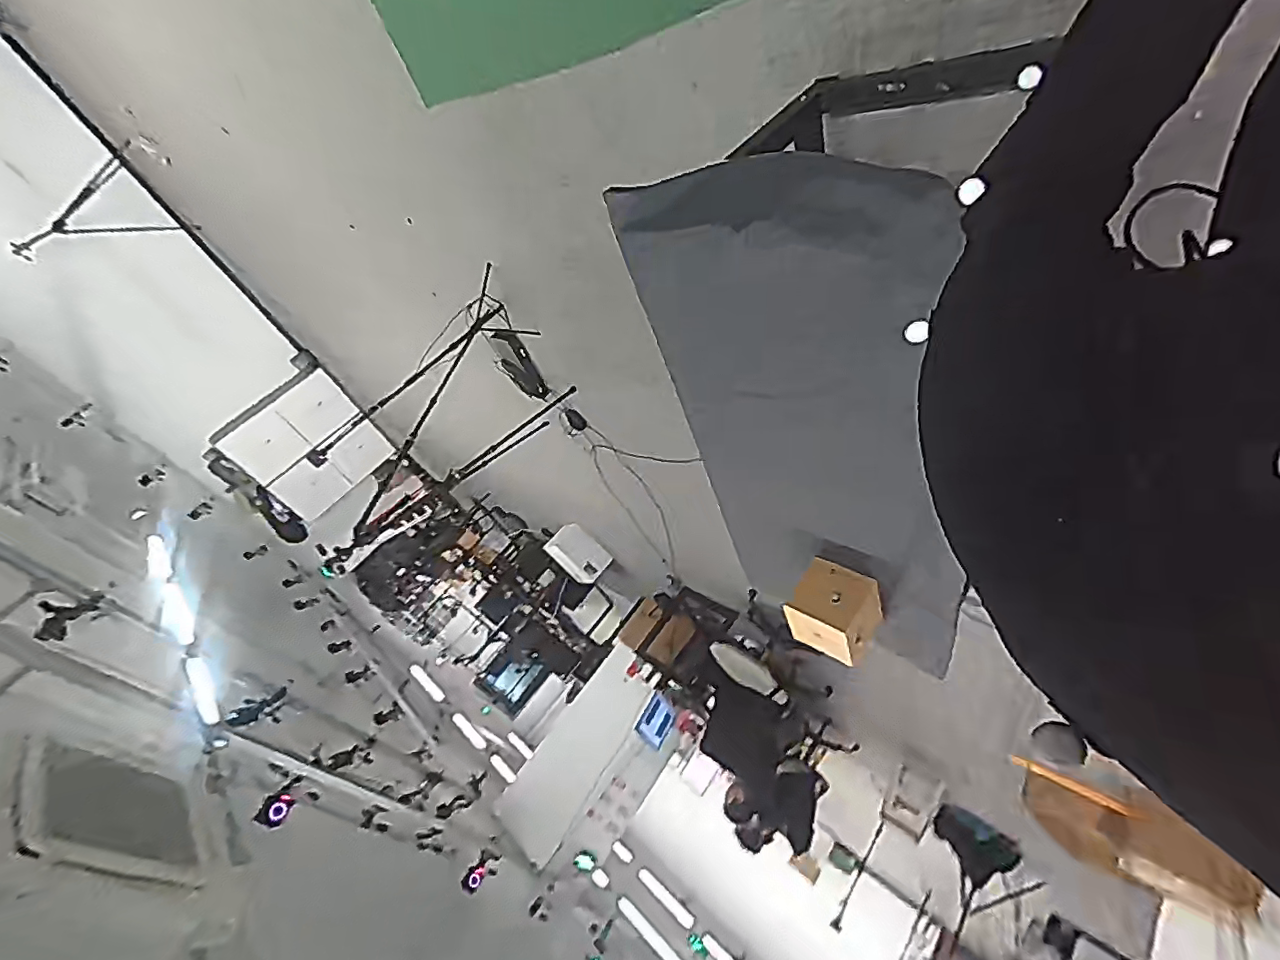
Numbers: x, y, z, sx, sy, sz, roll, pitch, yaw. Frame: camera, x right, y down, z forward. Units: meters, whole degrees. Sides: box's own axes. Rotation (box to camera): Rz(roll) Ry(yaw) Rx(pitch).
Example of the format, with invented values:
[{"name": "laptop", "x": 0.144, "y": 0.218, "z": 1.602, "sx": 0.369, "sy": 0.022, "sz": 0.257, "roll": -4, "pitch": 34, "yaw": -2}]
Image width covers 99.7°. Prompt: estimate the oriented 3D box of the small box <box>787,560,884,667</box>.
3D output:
[{"name": "small box", "x": 0.498, "y": 0.332, "z": 1.369, "sx": 0.168, "sy": 0.176, "sz": 0.179, "roll": 20, "pitch": 150, "yaw": 42}]
